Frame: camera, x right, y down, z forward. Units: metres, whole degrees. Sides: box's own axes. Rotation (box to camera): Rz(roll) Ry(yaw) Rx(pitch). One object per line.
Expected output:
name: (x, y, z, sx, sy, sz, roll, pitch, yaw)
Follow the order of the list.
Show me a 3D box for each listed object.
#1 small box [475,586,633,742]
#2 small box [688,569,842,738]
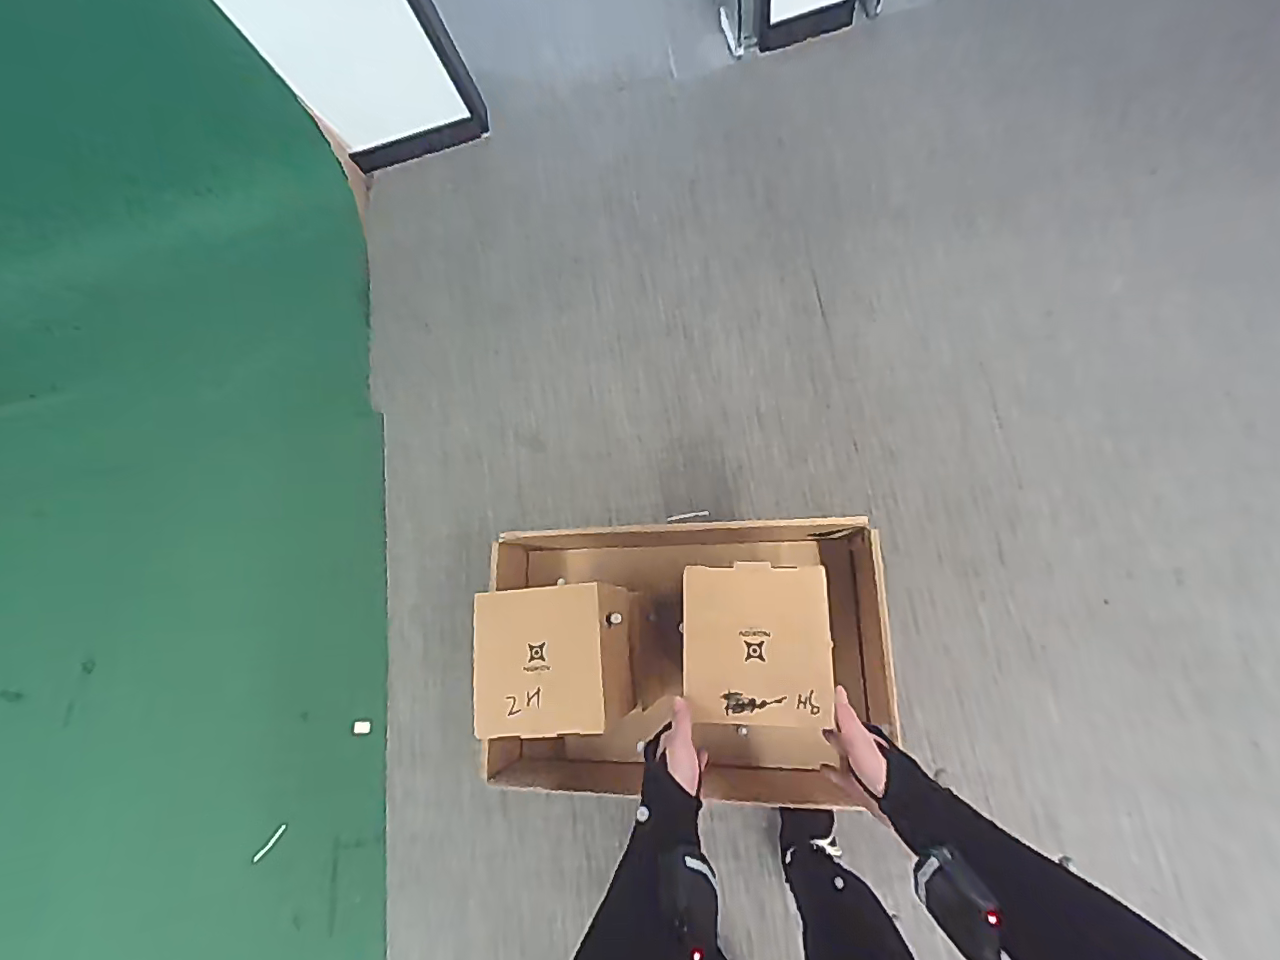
small box: (-0.107, 0.239, 0.727, 0.168, 0.176, 0.179, -6, 77, 10)
small box: (0.151, 0.213, 0.682, 0.168, 0.176, 0.179, -1, 73, 11)
